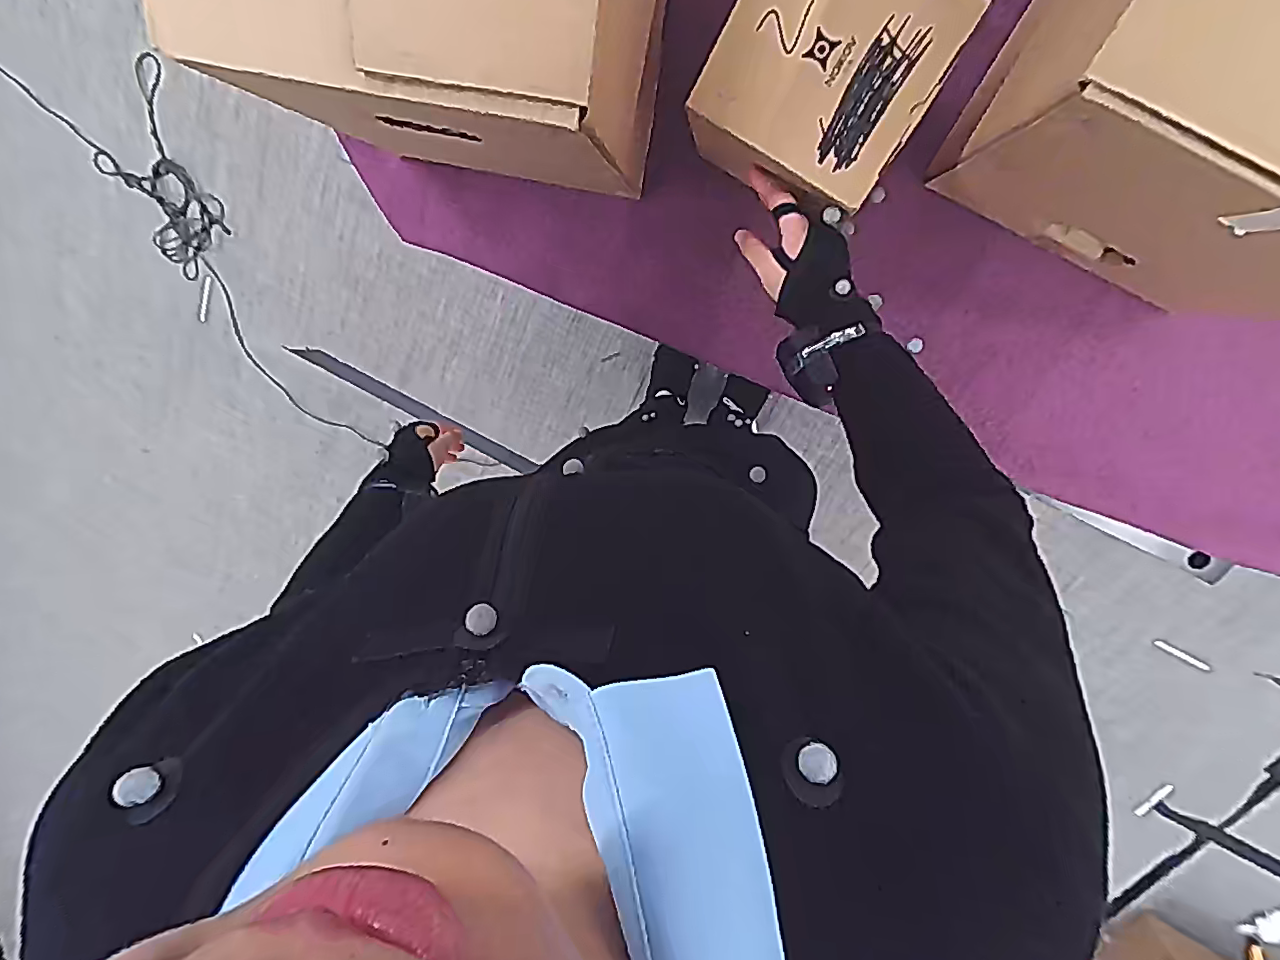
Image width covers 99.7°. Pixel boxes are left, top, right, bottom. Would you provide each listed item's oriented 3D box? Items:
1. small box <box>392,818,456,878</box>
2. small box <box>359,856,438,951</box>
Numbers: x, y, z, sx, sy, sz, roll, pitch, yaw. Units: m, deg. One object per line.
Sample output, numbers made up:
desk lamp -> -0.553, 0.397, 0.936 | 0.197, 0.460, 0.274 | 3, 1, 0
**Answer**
small box -> -0.825, 1.437, 2.060 | 0.168, 0.176, 0.179 | 25, 111, 1
small box -> -0.844, 1.487, 1.905 | 0.168, 0.176, 0.179 | 31, 110, -2
